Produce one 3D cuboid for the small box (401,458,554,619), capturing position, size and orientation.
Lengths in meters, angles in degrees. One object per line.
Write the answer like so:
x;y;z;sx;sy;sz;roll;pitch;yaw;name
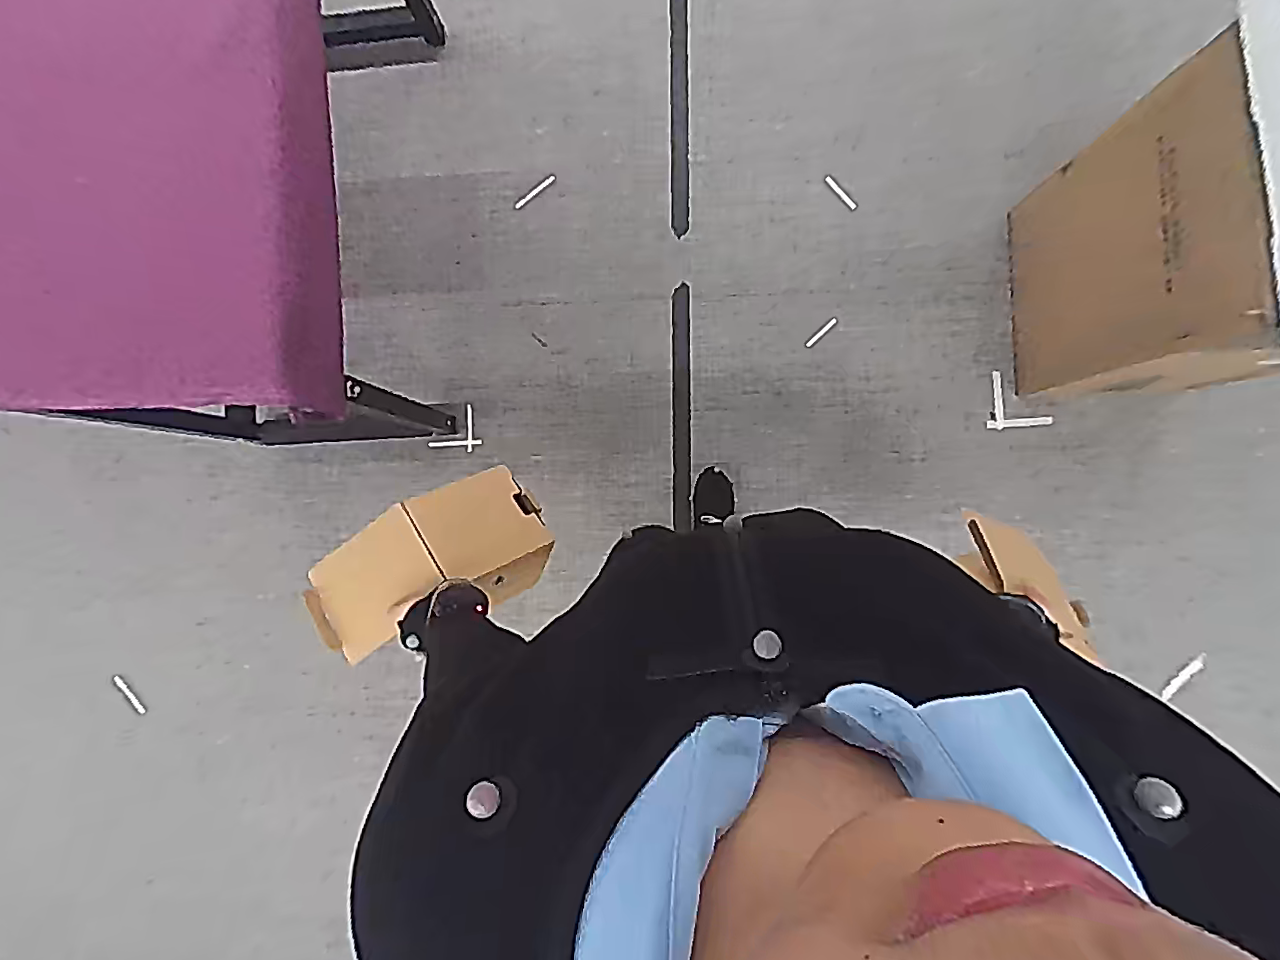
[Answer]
-0.265;0.098;0.875;0.179;0.176;0.168;-24;69;-34;small box
